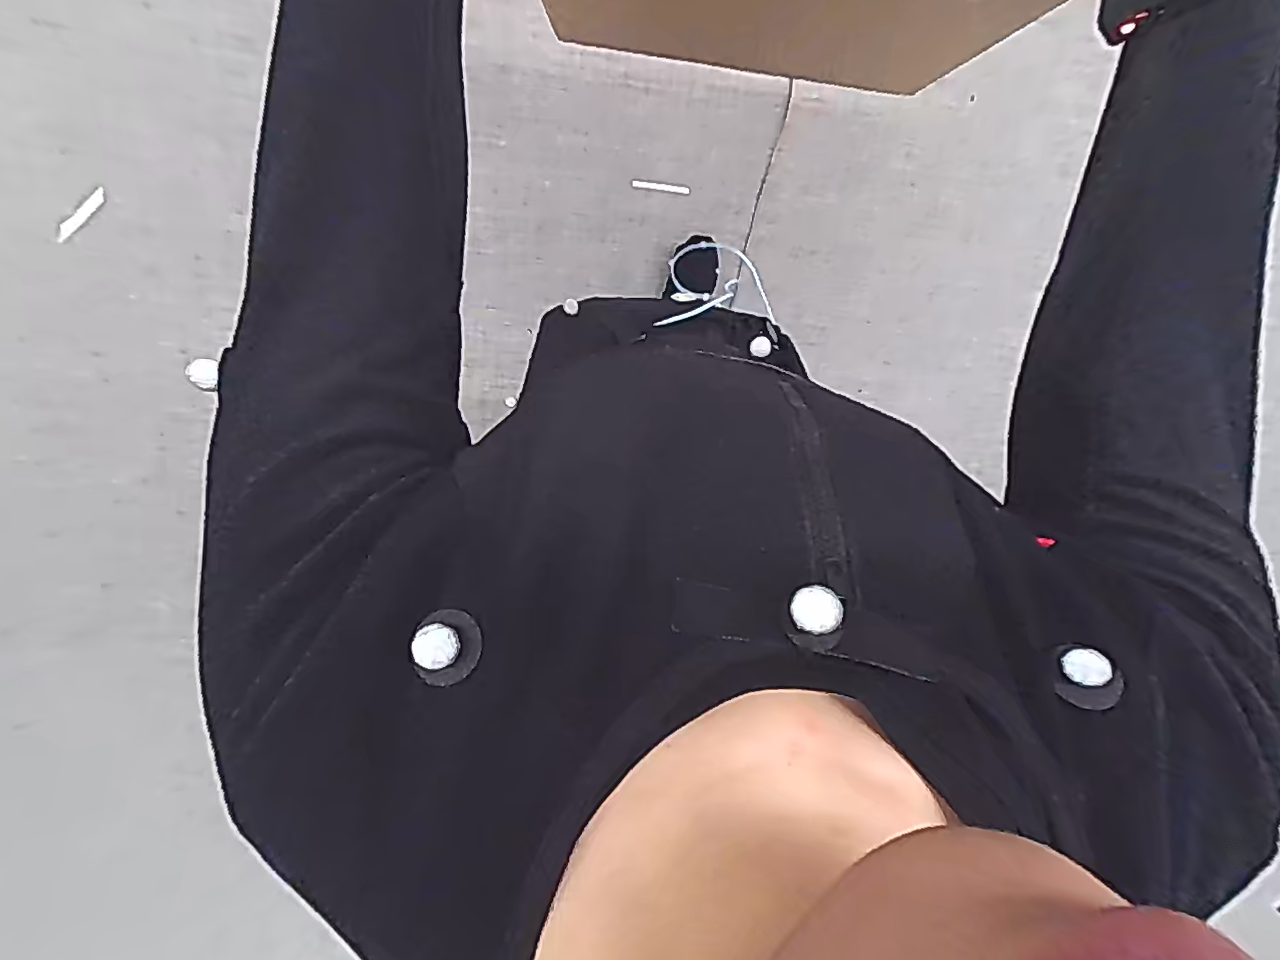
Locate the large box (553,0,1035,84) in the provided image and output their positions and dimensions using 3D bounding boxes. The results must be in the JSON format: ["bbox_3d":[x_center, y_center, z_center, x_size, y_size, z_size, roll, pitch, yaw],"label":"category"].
[{"bbox_3d":[0.127,-0.549,0.410,0.408,0.320,0.320,7,113,-3],"label":"large box"}]
